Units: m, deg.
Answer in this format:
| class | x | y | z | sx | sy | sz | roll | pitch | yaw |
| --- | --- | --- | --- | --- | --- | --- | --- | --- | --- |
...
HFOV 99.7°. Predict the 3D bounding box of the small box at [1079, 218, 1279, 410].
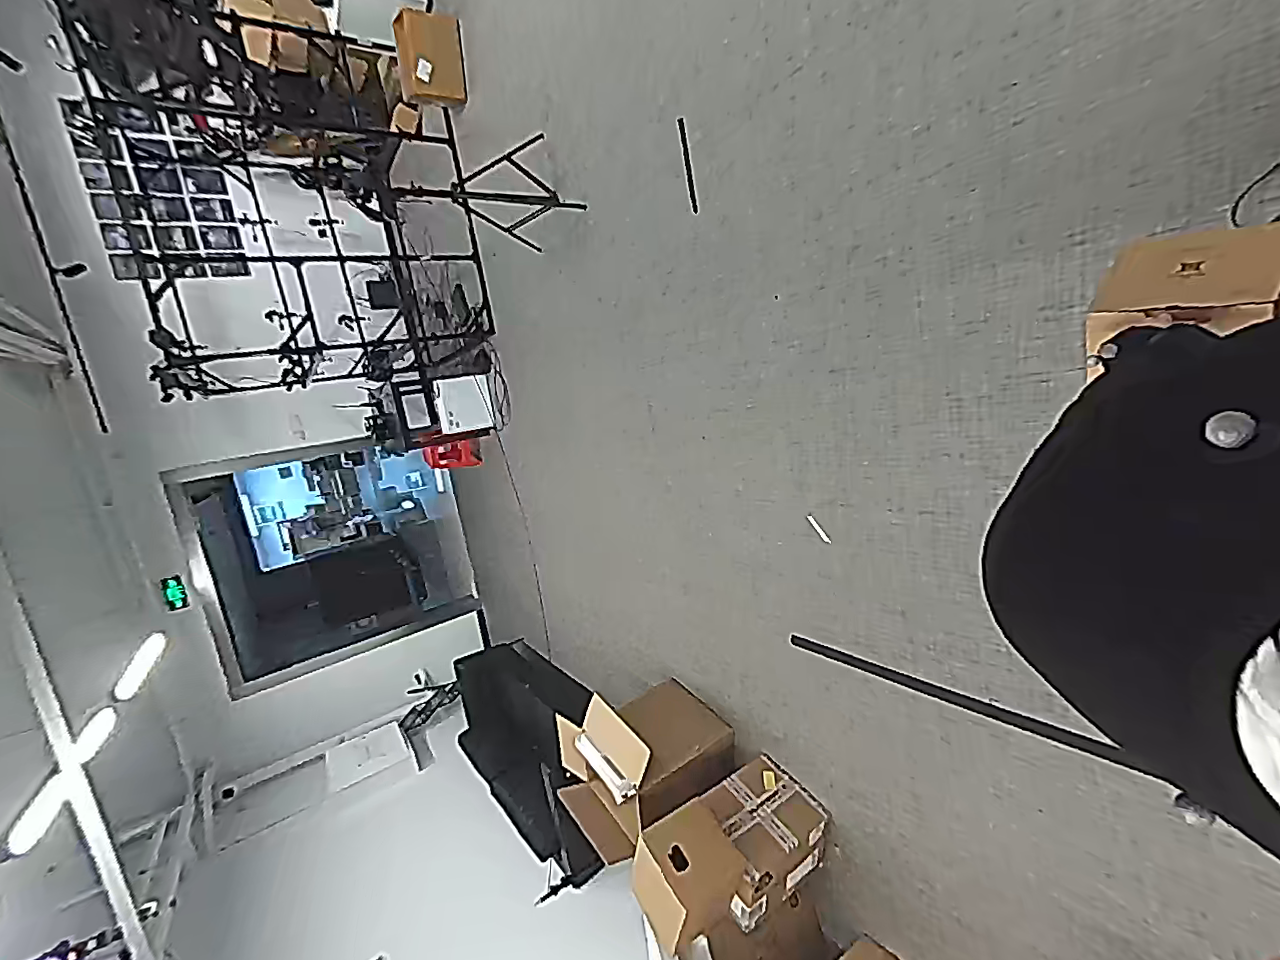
| class | x | y | z | sx | sy | sz | roll | pitch | yaw |
| --- | --- | --- | --- | --- | --- | --- | --- | --- | --- |
| small box | 0.719 | -0.212 | 0.723 | 0.168 | 0.179 | 0.176 | 15 | 148 | 48 |
